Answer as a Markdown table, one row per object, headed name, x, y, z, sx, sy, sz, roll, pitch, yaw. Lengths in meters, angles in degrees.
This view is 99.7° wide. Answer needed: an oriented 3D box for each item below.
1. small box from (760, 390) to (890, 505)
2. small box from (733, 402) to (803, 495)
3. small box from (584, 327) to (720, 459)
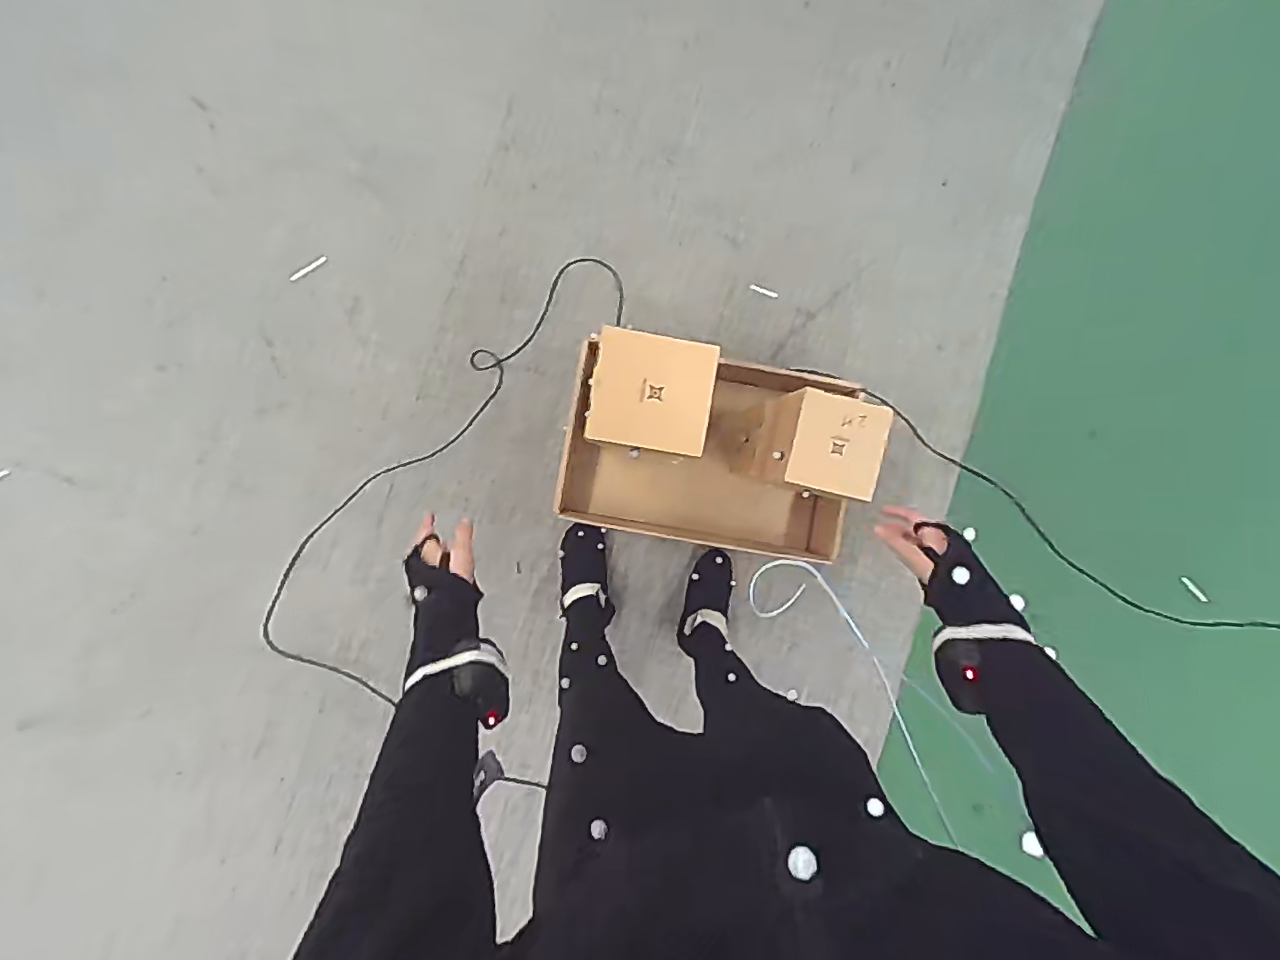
| name | x | y | z | sx | sy | sz | roll | pitch | yaw |
| --- | --- | --- | --- | --- | --- | --- | --- | --- | --- |
| small box | 0.344 | -0.057 | 1.042 | 0.168 | 0.176 | 0.179 | 14 | 89 | -4 |
| small box | 0.320 | -0.062 | 1.206 | 0.179 | 0.176 | 0.168 | 14 | 89 | -3 |
| small box | 0.013 | -0.128 | 0.860 | 0.179 | 0.176 | 0.168 | 9 | 91 | -3 |
